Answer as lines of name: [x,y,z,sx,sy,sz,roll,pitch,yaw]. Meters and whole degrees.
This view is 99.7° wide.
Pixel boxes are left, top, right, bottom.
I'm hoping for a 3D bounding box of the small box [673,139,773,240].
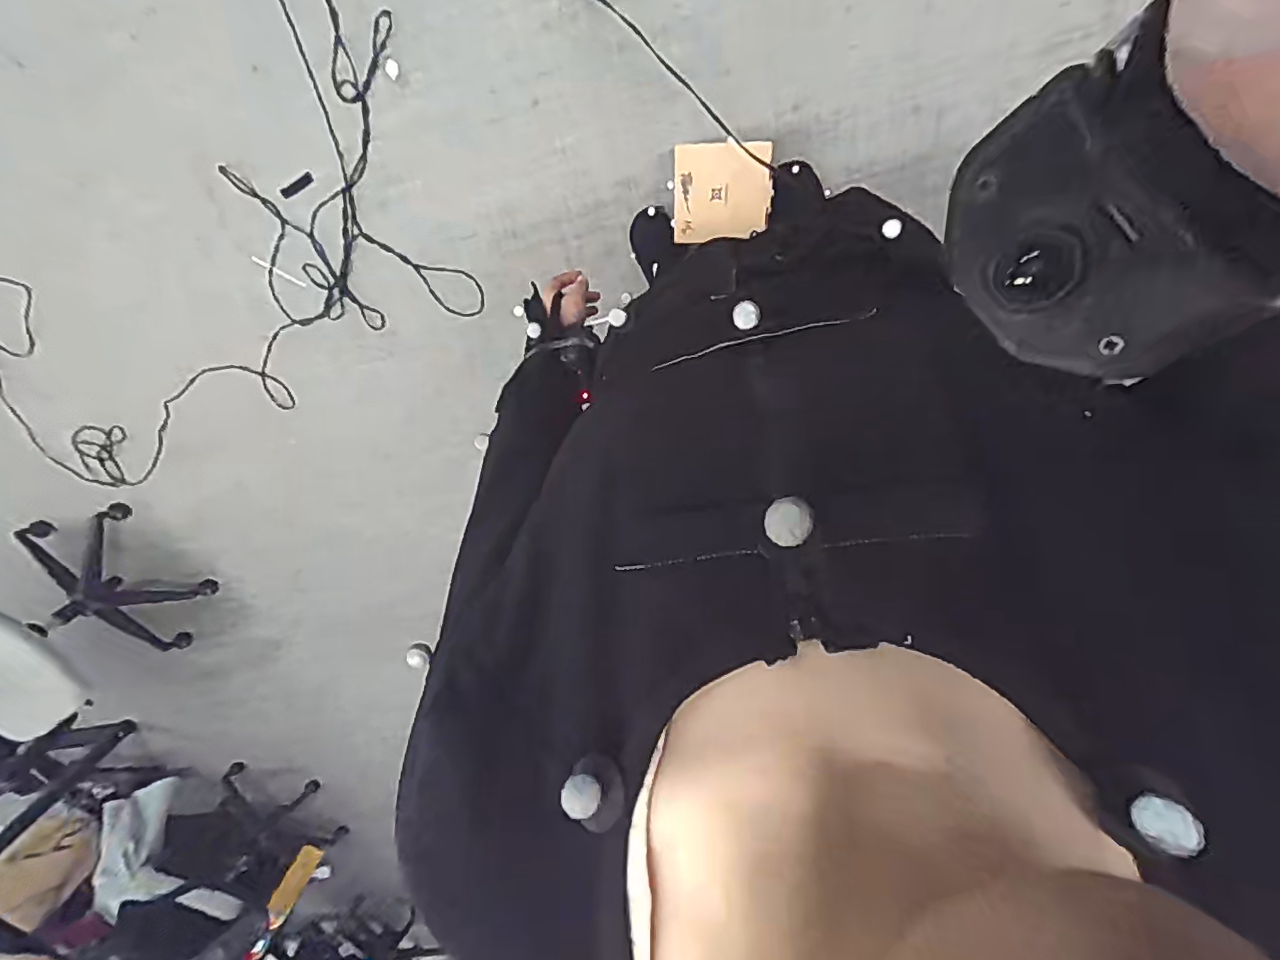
small box: [0.156,-0.570,1.061,0.179,0.176,0.168,2,119,6]
